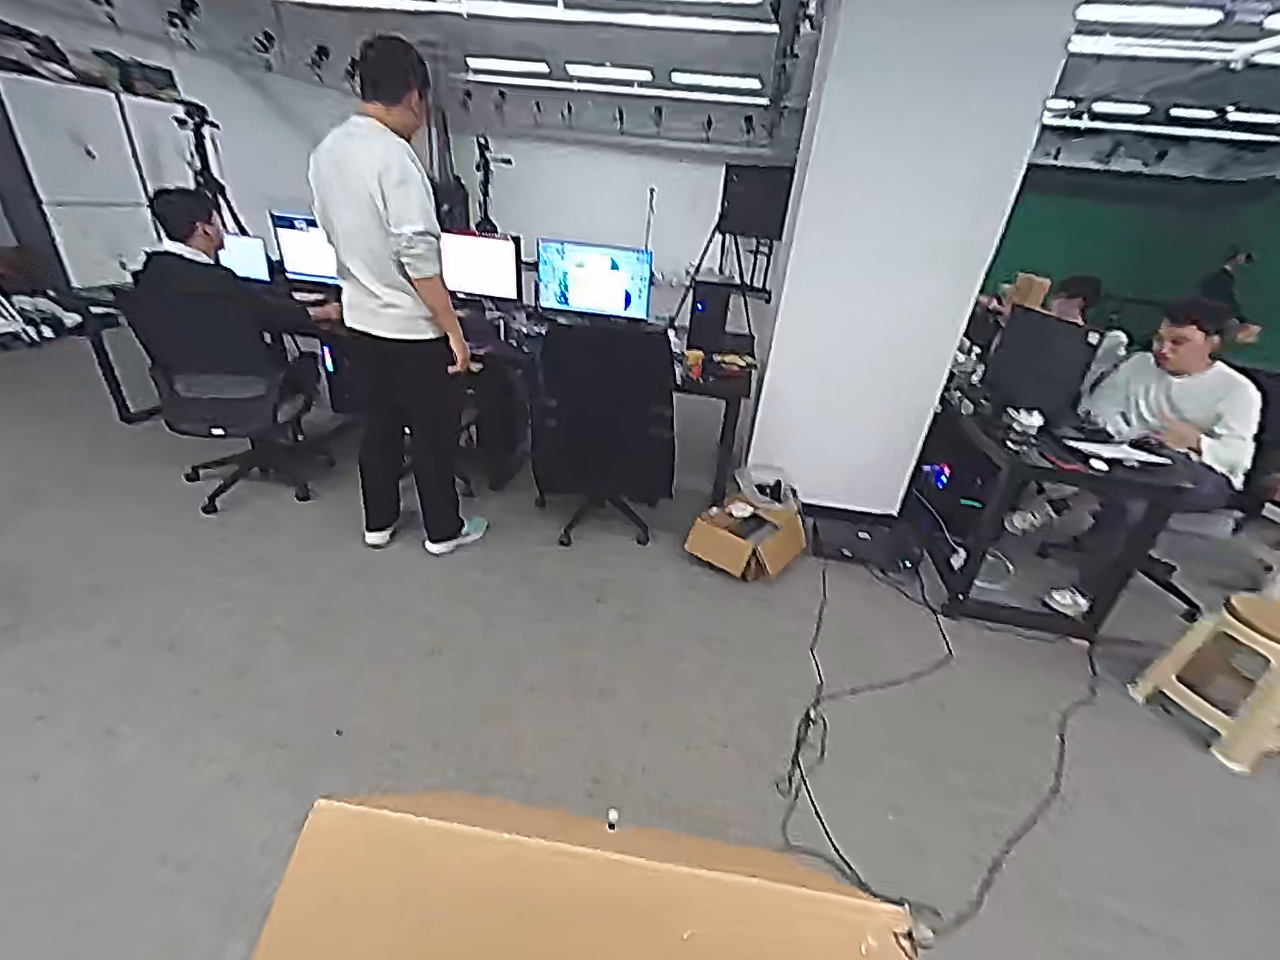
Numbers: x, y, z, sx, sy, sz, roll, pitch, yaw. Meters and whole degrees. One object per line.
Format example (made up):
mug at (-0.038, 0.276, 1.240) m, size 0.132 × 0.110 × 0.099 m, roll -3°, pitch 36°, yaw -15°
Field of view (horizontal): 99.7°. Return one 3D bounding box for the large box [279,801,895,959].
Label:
large box at (-0.050, 0.462, 0.435) m, size 0.408 × 0.320 × 0.320 m, roll 8°, pitch 62°, yaw 3°
